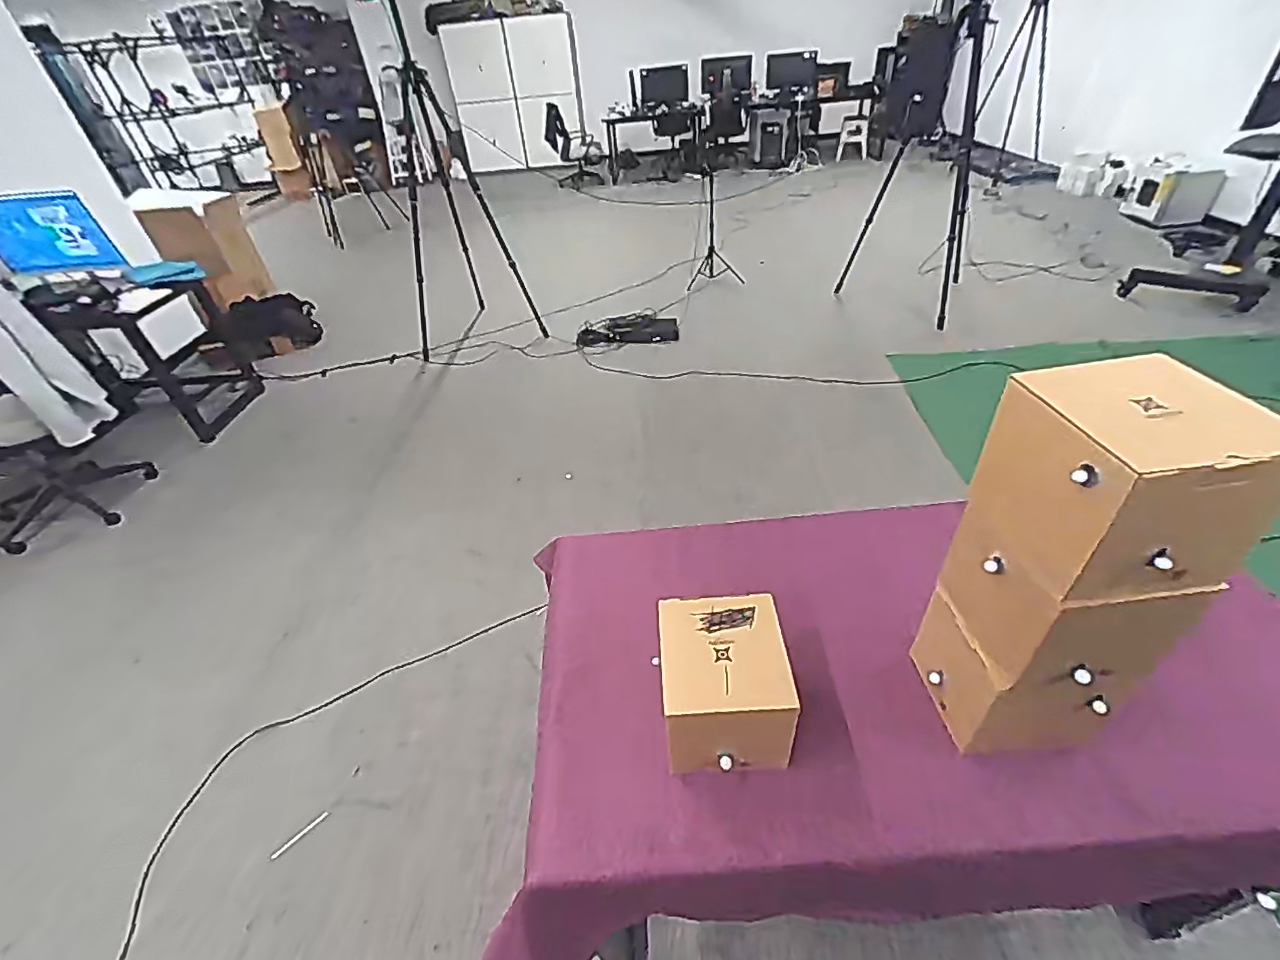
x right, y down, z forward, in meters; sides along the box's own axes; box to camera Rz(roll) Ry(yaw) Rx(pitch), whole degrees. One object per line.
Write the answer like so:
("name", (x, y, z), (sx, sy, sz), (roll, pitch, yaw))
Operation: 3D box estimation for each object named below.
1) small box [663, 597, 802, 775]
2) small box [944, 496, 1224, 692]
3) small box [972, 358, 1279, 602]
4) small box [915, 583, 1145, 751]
("small box", (0.119, 0.290, 0.766), (0.168, 0.176, 0.179), (-5, 40, 3))
("small box", (0.500, 0.126, 0.651), (0.168, 0.176, 0.179), (-7, 40, 1))
("small box", (0.481, -0.003, 0.554), (0.168, 0.176, 0.179), (-8, 40, -1))
("small box", (0.516, 0.254, 0.751), (0.179, 0.176, 0.168), (-6, 38, 1))
